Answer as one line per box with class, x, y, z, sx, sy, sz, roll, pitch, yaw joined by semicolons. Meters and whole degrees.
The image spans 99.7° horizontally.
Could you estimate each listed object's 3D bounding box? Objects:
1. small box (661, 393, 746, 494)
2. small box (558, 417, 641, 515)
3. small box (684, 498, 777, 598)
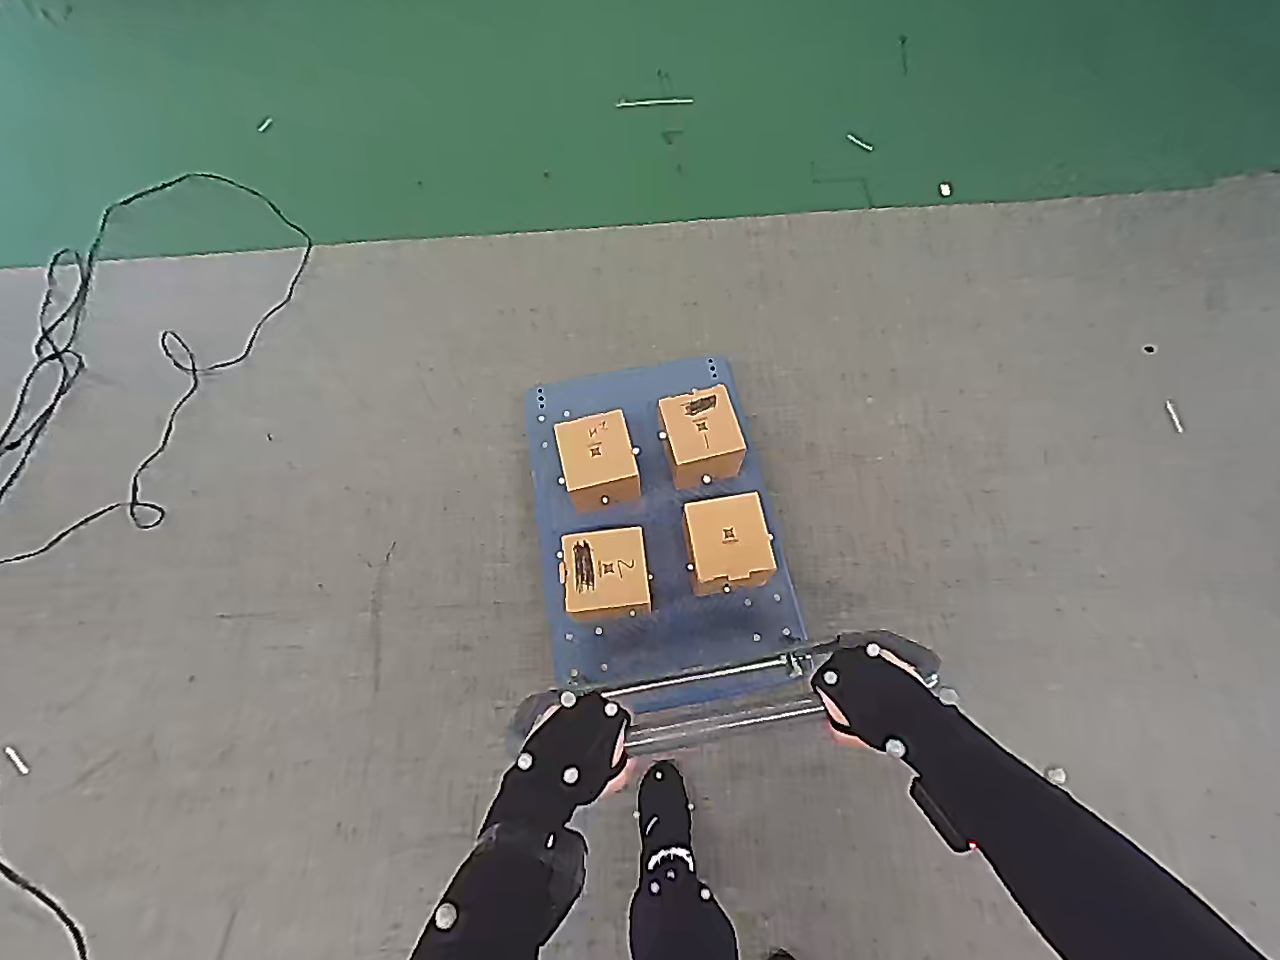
small box;0.150;-0.087;1.342;0.168;0.176;0.179;-14;69;-2
small box;-0.094;-0.025;1.328;0.168;0.176;0.179;-13;68;-4
small box;0.198;0.160;1.241;0.168;0.176;0.179;-10;68;-1
